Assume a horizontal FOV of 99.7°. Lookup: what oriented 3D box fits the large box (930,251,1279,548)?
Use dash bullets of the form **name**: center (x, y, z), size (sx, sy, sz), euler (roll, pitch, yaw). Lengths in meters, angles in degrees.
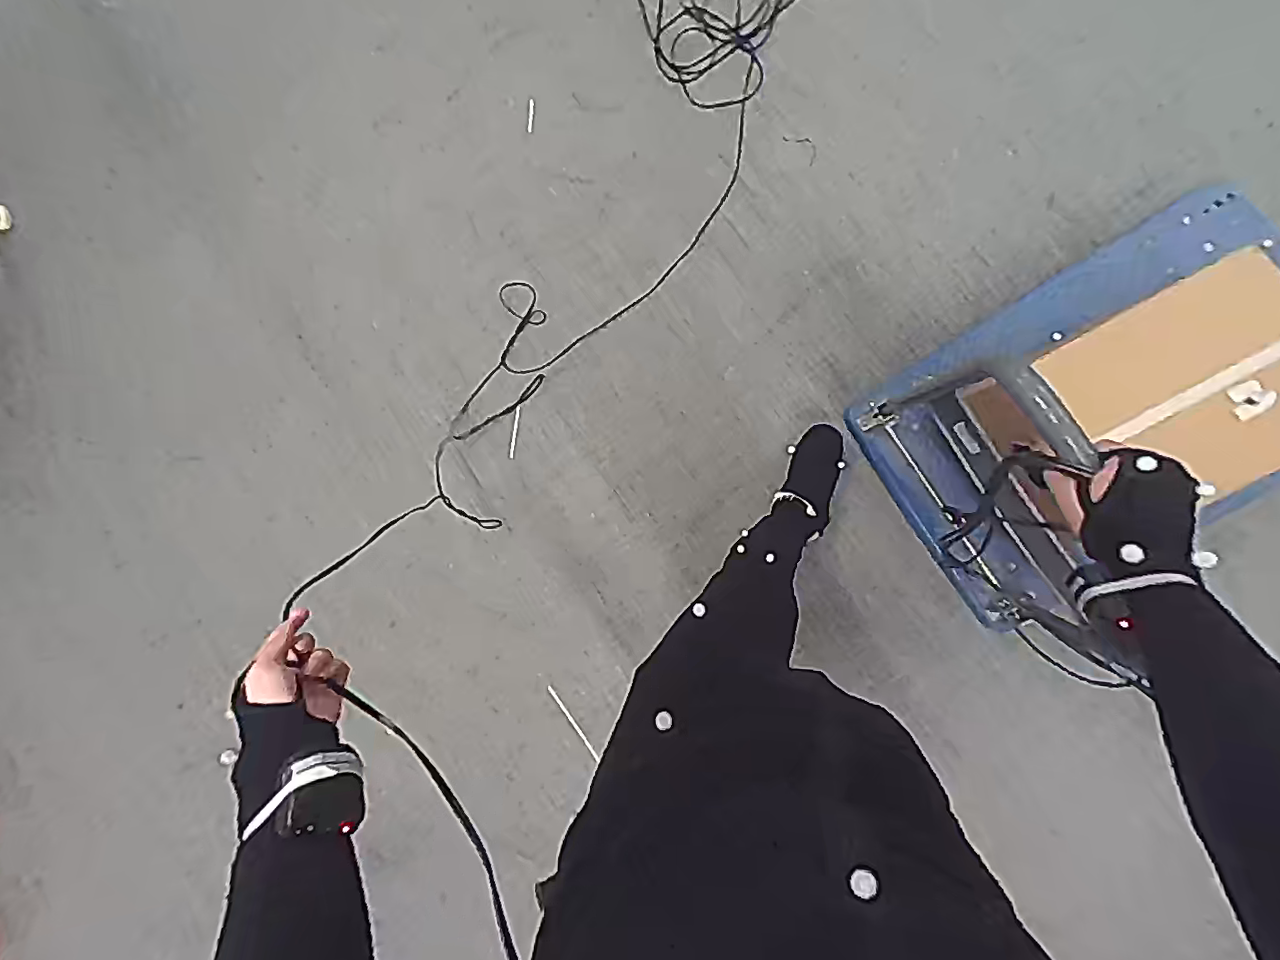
- **large box**: center (0.837, -0.115, 0.979), size (0.408, 0.320, 0.320), euler (-30, 85, 6)
